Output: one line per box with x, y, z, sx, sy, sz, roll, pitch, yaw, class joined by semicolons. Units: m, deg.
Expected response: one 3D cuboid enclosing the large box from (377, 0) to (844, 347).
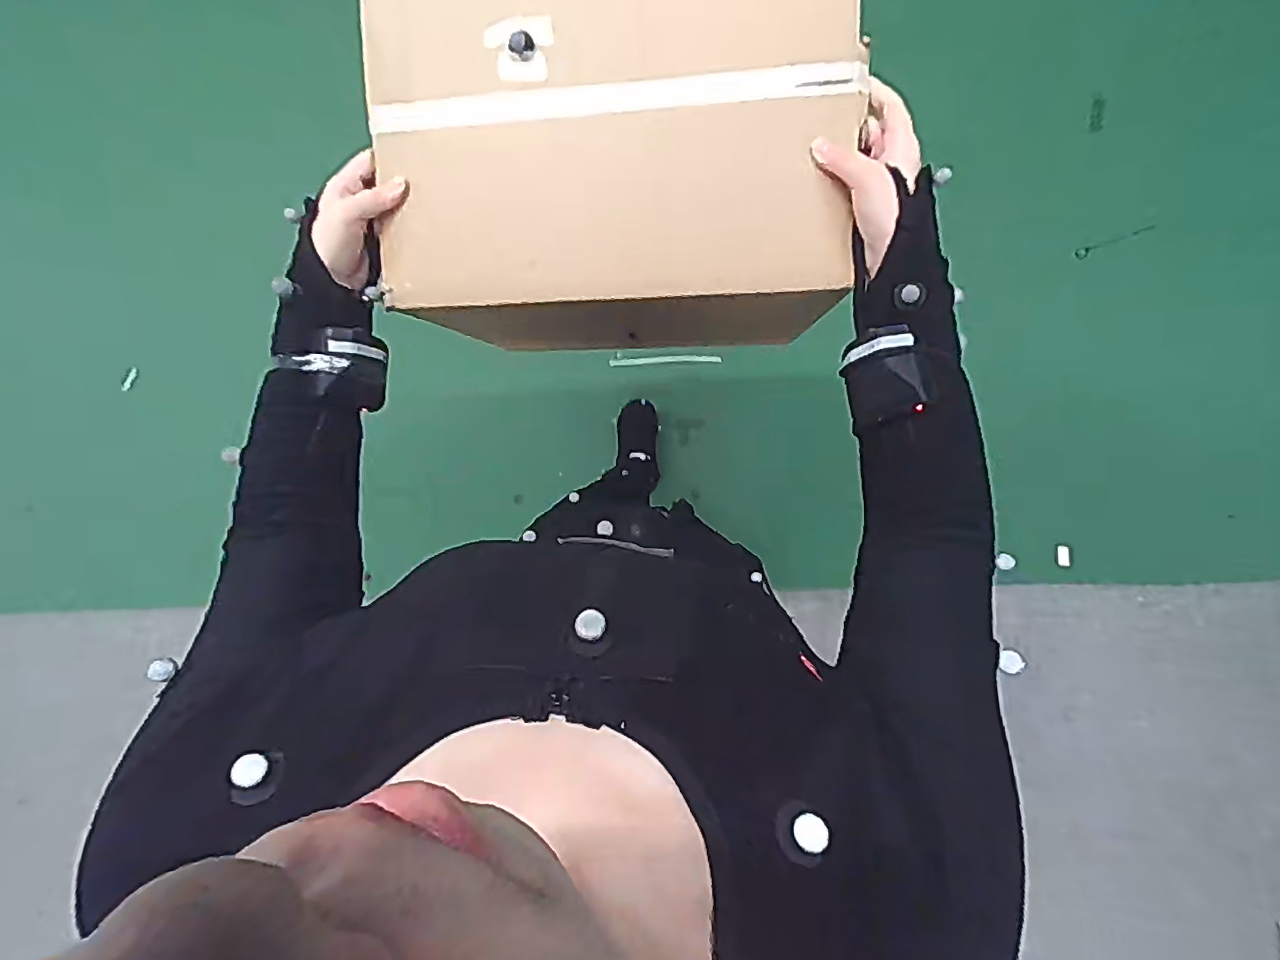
-0.010;-0.329;0.608;0.408;0.320;0.320;0;96;8;large box
